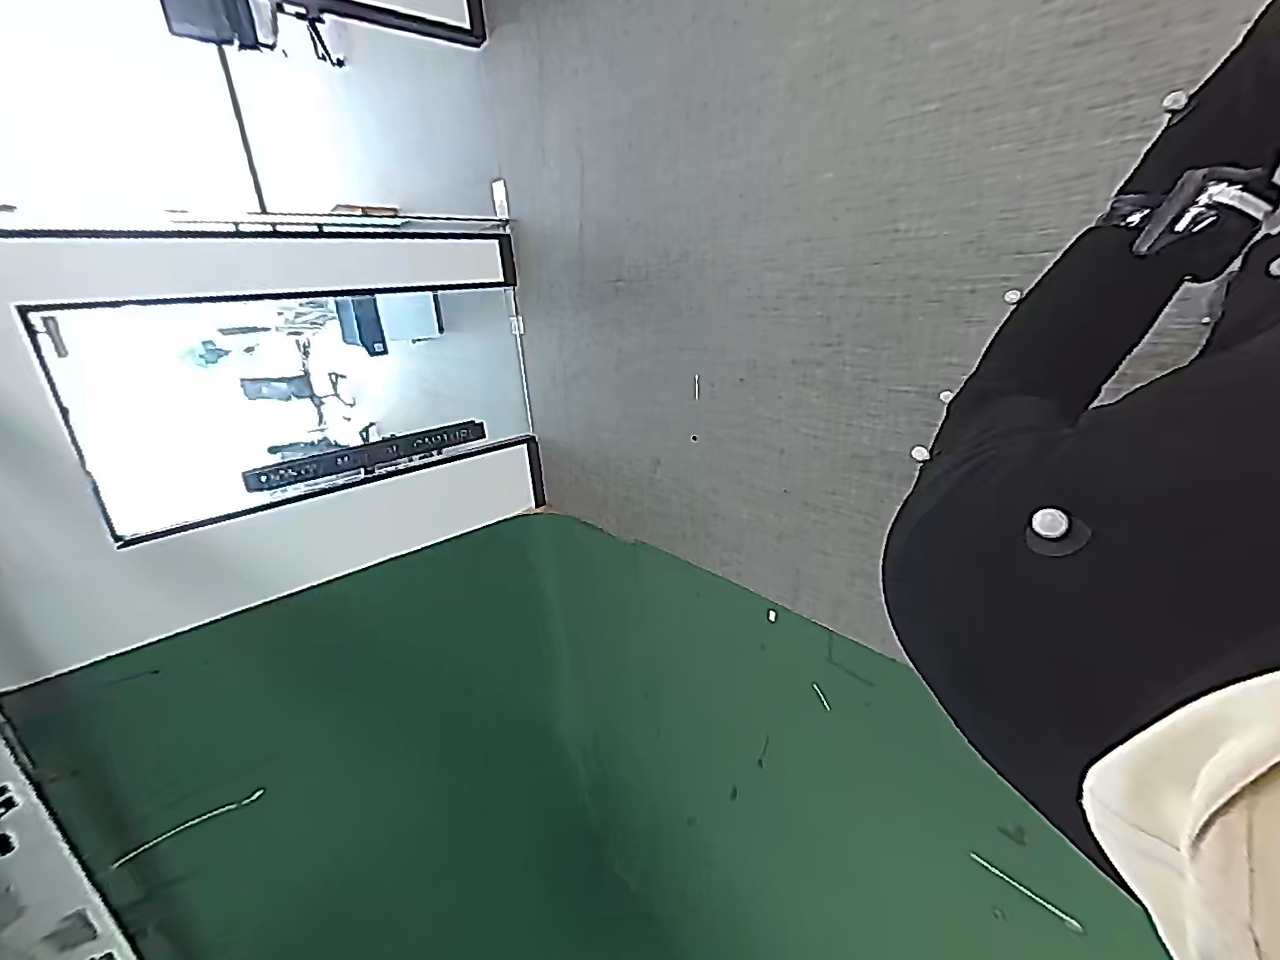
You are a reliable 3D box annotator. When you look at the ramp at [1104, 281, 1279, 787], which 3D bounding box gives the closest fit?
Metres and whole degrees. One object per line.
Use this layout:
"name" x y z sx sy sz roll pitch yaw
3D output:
"ramp" 1.320 0.130 1.037 0.509 0.206 0.991 16 116 48
